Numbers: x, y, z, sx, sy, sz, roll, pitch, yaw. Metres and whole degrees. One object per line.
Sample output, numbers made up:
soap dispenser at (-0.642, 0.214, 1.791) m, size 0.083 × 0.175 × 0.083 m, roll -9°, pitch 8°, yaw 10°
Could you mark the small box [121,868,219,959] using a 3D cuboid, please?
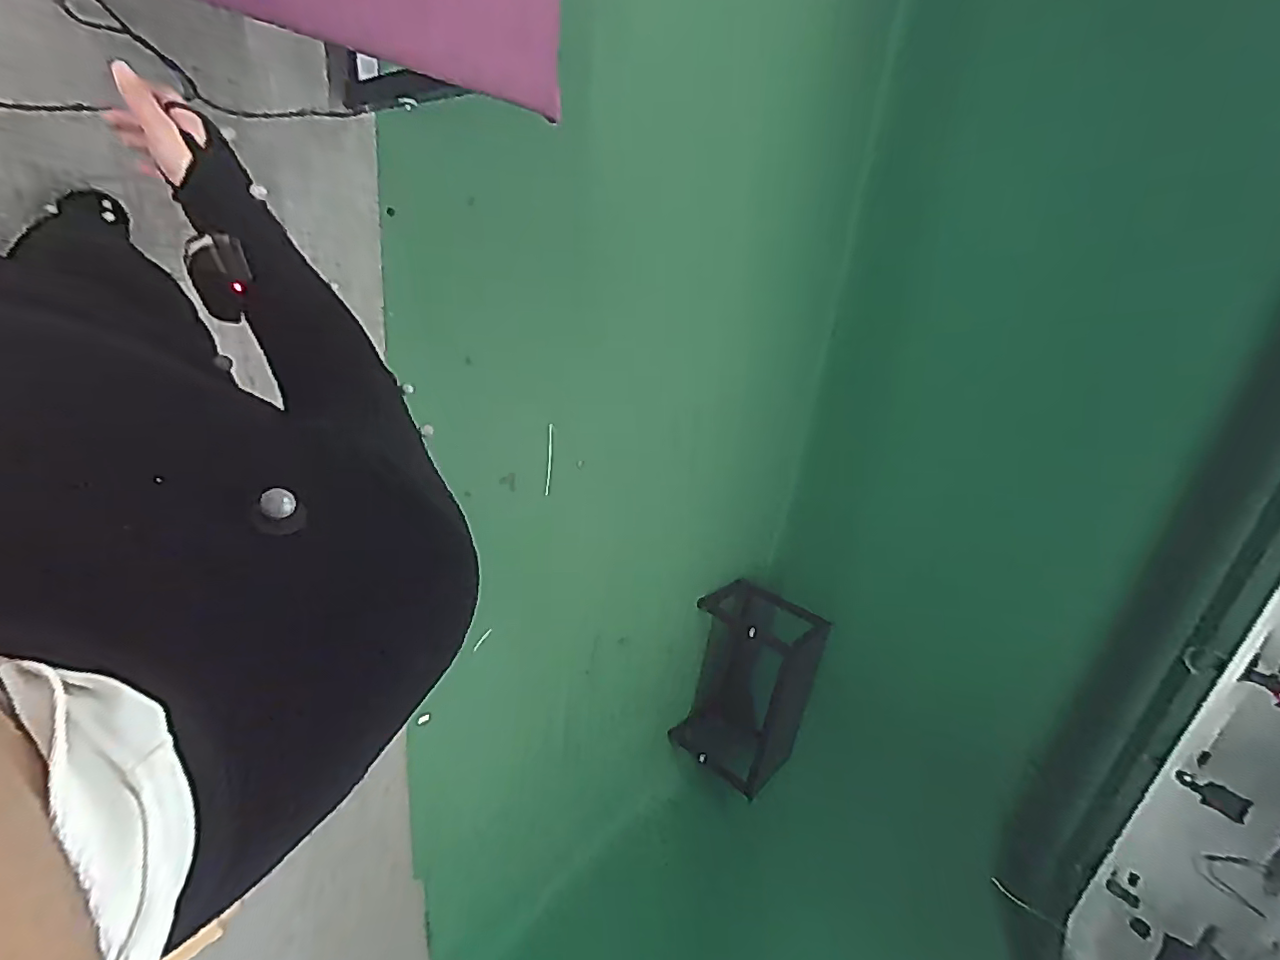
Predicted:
small box at (-1.379, 1.301, 1.589) m, size 0.168 × 0.176 × 0.179 m, roll -25°, pitch 127°, yaw -42°
